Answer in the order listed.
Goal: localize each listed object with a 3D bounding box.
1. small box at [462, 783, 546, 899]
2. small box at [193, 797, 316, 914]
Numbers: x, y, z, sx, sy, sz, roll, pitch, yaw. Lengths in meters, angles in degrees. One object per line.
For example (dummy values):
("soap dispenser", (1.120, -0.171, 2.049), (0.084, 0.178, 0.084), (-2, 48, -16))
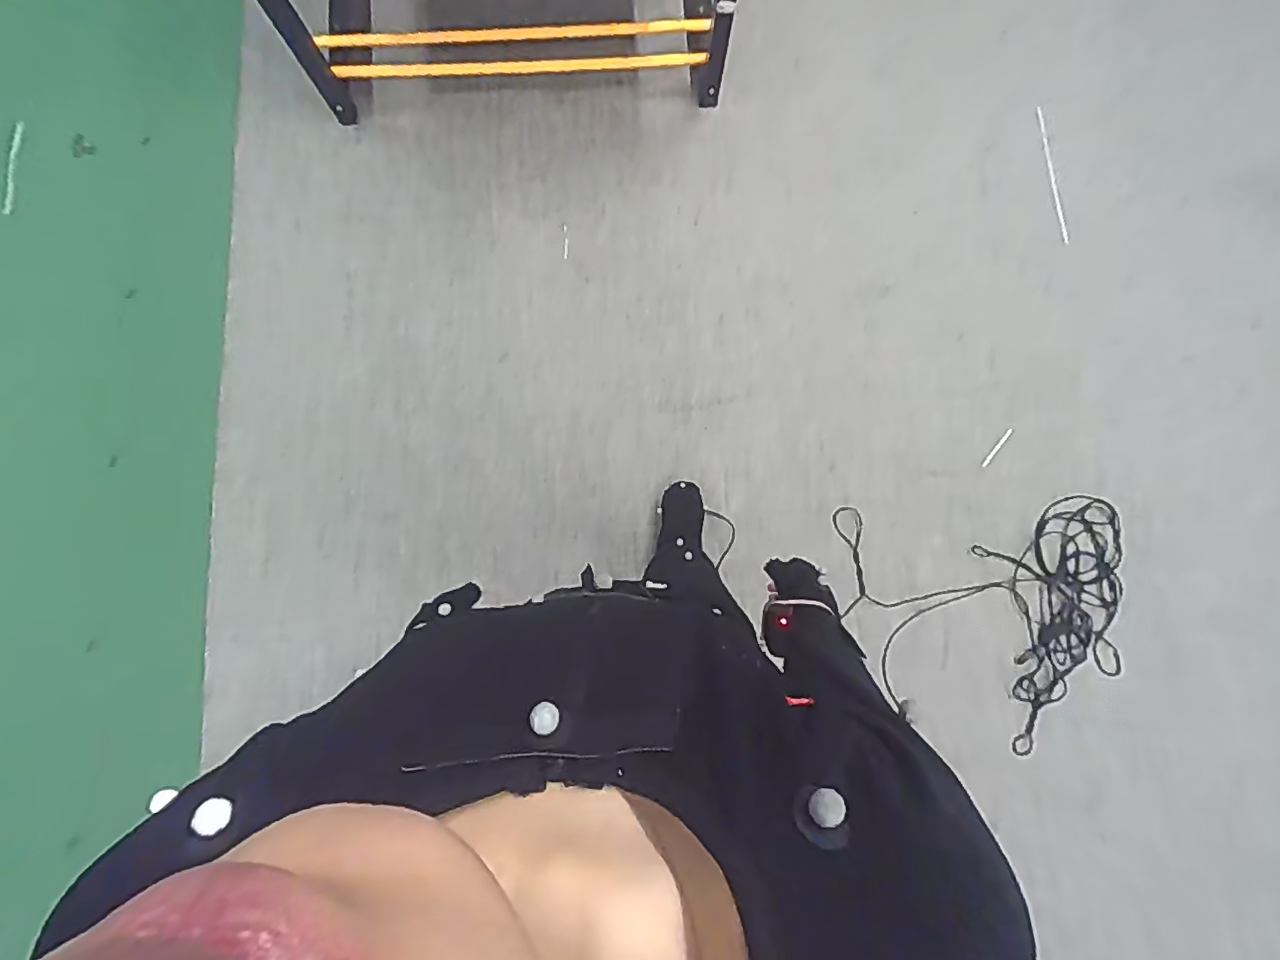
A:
("small box", (-0.317, 0.849, 1.286), (0.168, 0.176, 0.179), (-3, 80, -2))
("small box", (-0.898, 0.878, 1.277), (0.168, 0.176, 0.179), (0, 80, -1))
